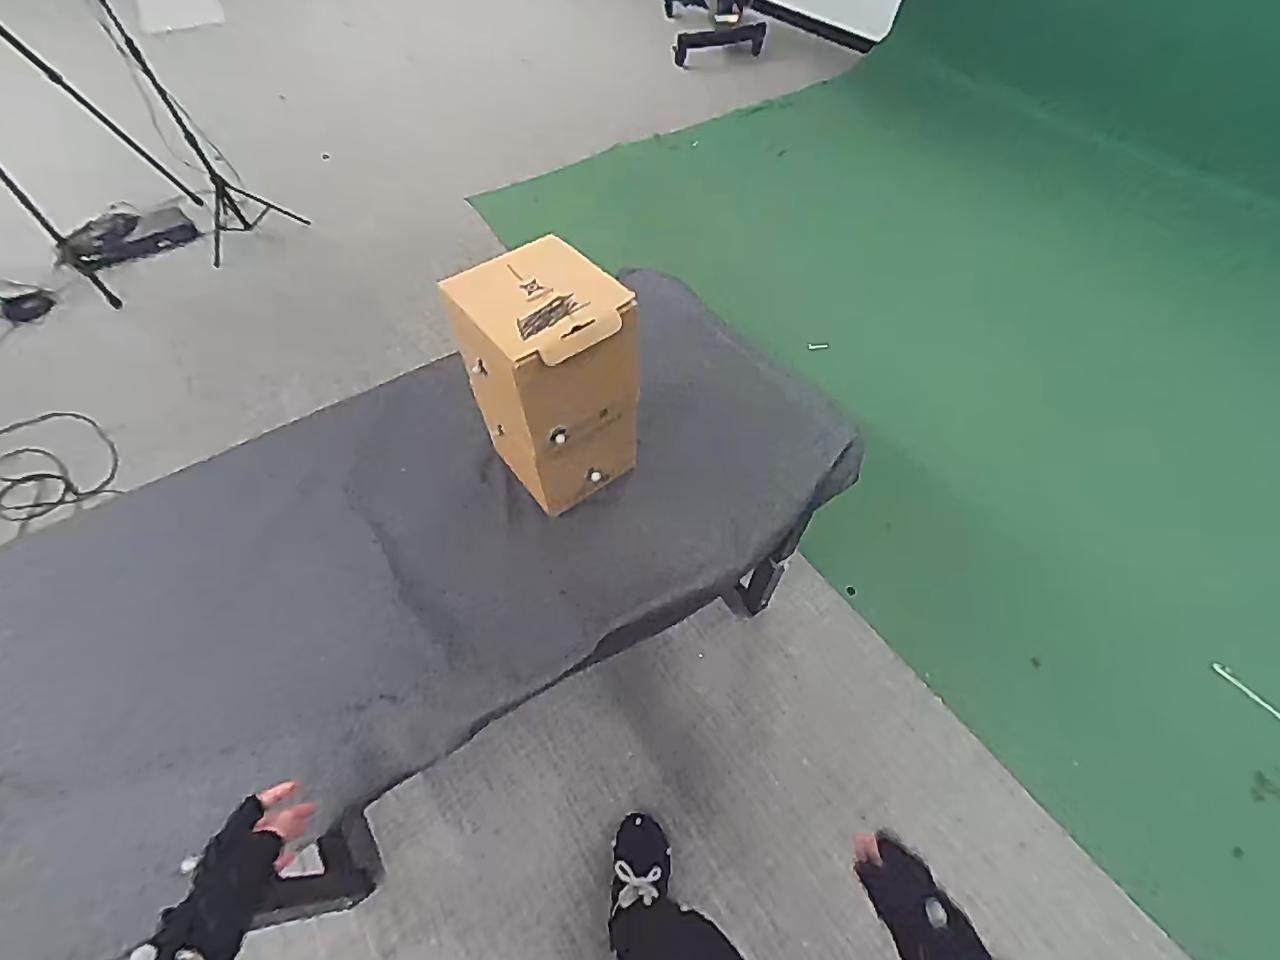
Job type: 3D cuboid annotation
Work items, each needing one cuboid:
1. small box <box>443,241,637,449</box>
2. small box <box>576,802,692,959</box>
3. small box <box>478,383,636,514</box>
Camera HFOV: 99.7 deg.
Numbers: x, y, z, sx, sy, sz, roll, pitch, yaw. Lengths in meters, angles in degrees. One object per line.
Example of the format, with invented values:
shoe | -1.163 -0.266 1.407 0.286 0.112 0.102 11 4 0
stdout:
small box | -0.115 -0.162 0.688 0.168 0.176 0.179 -33 61 -20
small box | -0.009 0.823 1.107 0.179 0.176 0.168 -23 27 -39
small box | -0.121 -0.081 0.832 0.168 0.176 0.179 -33 62 -19
